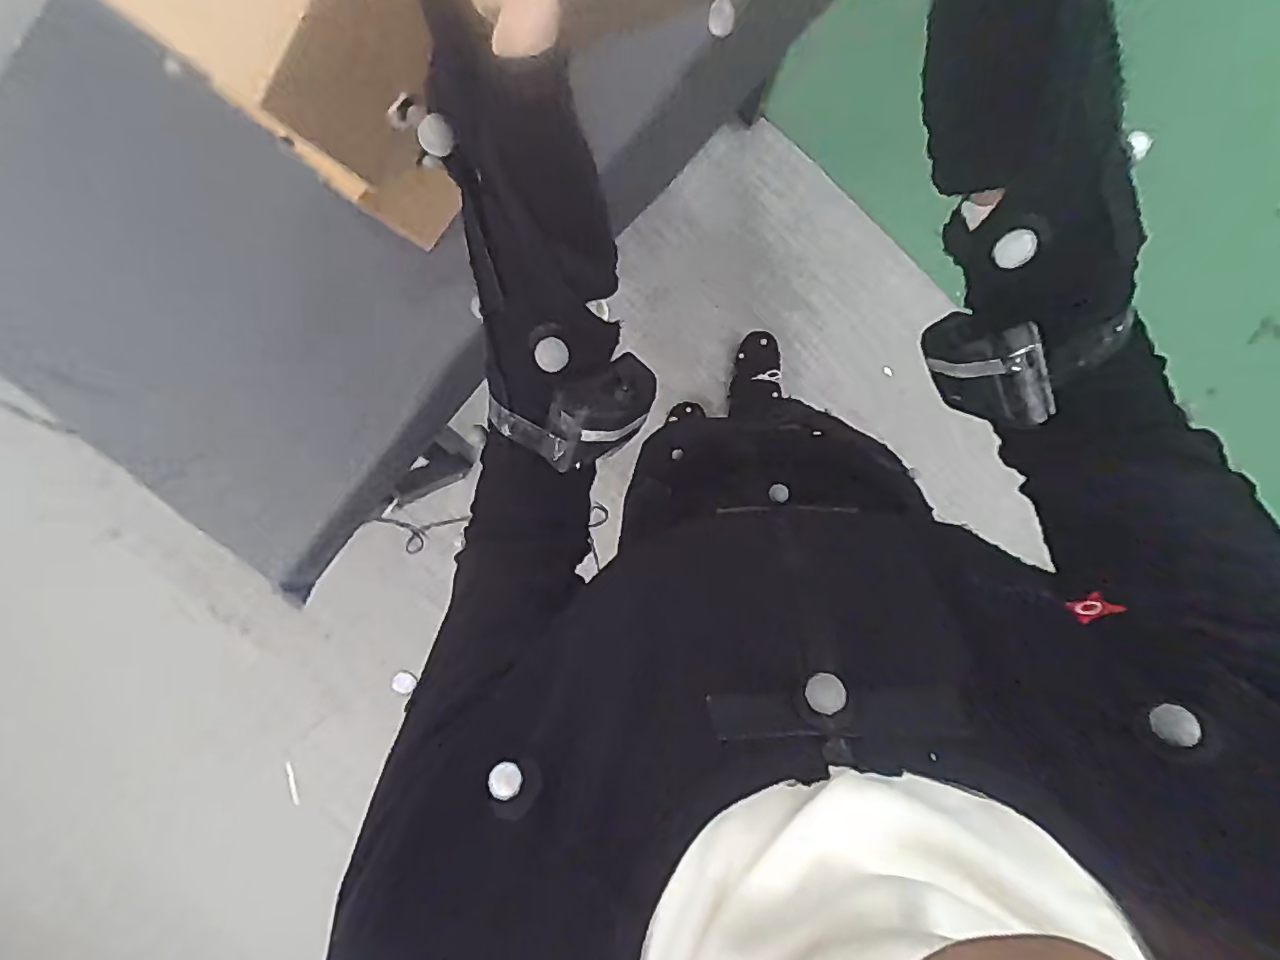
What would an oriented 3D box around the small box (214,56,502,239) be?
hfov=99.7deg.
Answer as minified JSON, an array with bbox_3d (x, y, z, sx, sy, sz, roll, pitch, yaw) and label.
[{"bbox_3d":[-0.271,-0.388,0.563,0.168,0.176,0.179,40,98,-4],"label":"small box"}]

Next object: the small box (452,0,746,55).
[{"bbox_3d":[0.008,-0.277,0.185,0.179,0.176,0.168,-11,121,11],"label":"small box"}]

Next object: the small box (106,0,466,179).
[{"bbox_3d":[-0.266,-0.365,0.403,0.179,0.176,0.168,35,101,-5],"label":"small box"}]
